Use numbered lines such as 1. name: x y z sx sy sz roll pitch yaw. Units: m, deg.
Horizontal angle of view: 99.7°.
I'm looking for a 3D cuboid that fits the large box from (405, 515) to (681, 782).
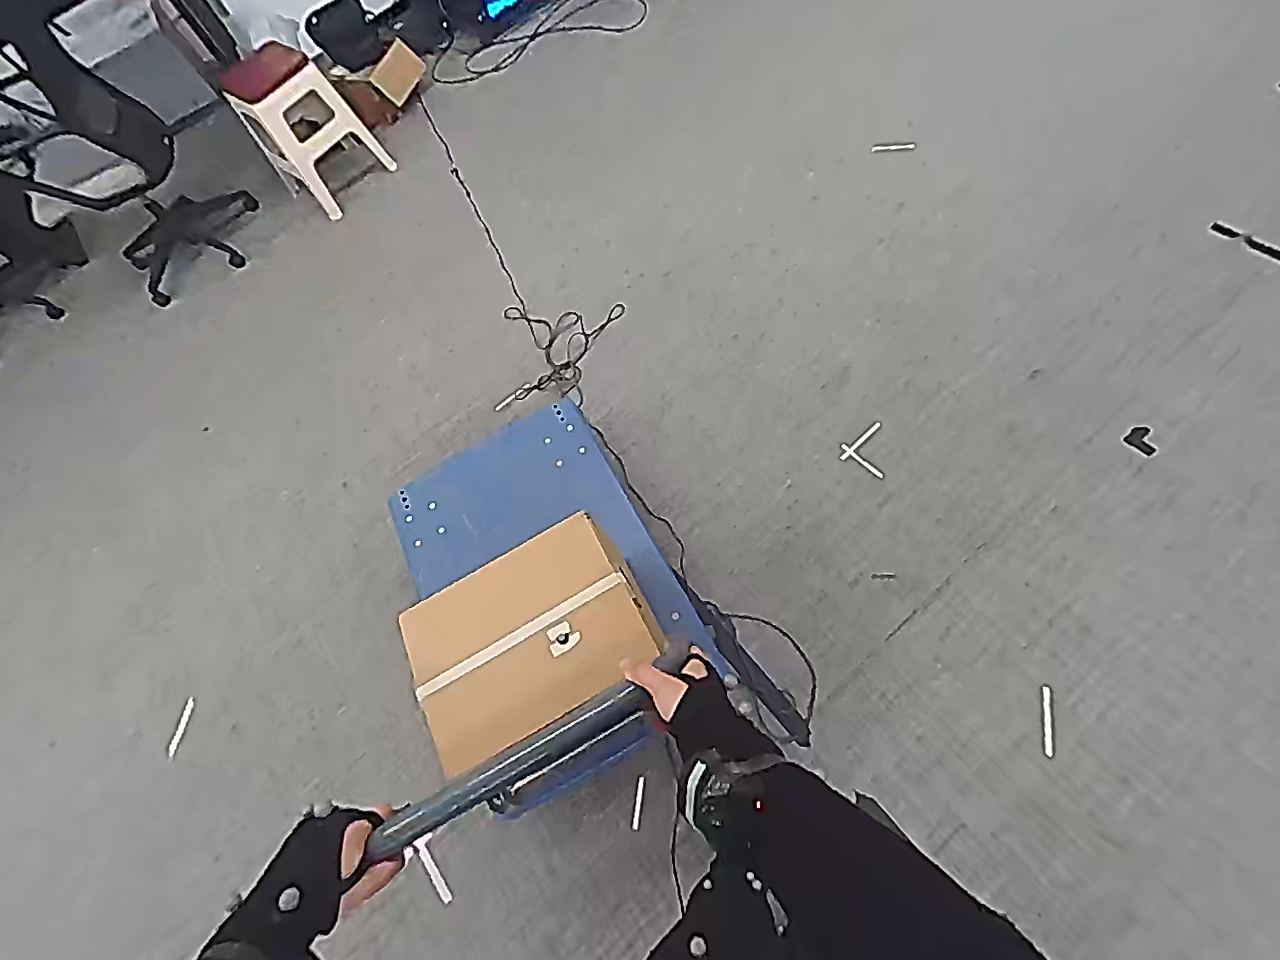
1. large box: -0.176 0.344 1.088 0.408 0.320 0.320 -30 63 -4
